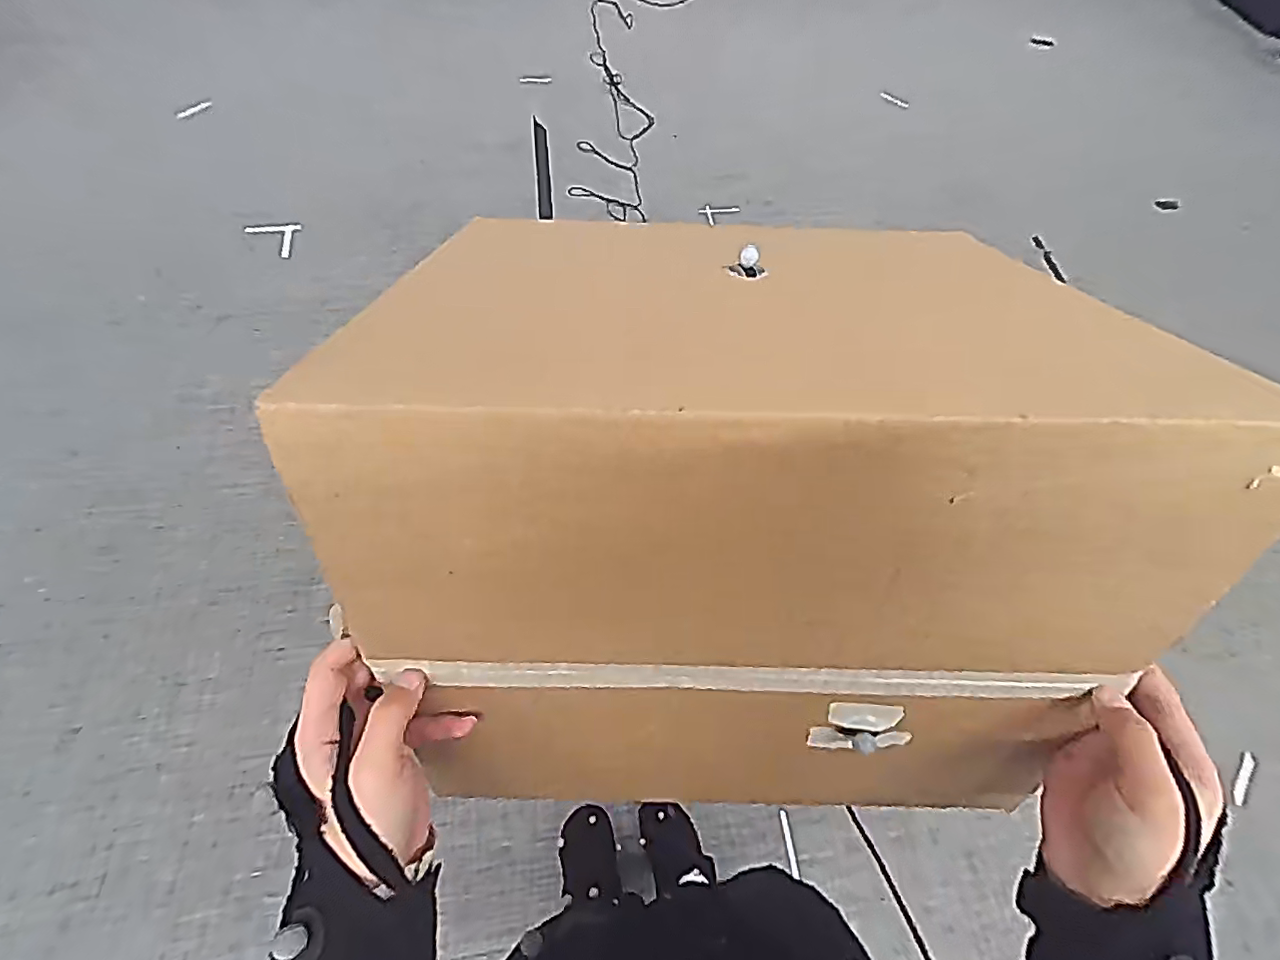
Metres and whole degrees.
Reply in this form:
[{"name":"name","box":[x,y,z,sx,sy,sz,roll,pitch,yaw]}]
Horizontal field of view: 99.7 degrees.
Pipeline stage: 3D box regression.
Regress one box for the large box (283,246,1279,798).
[{"name":"large box","box":[0.055,0.015,0.417,0.408,0.320,0.320,0,38,0]}]
